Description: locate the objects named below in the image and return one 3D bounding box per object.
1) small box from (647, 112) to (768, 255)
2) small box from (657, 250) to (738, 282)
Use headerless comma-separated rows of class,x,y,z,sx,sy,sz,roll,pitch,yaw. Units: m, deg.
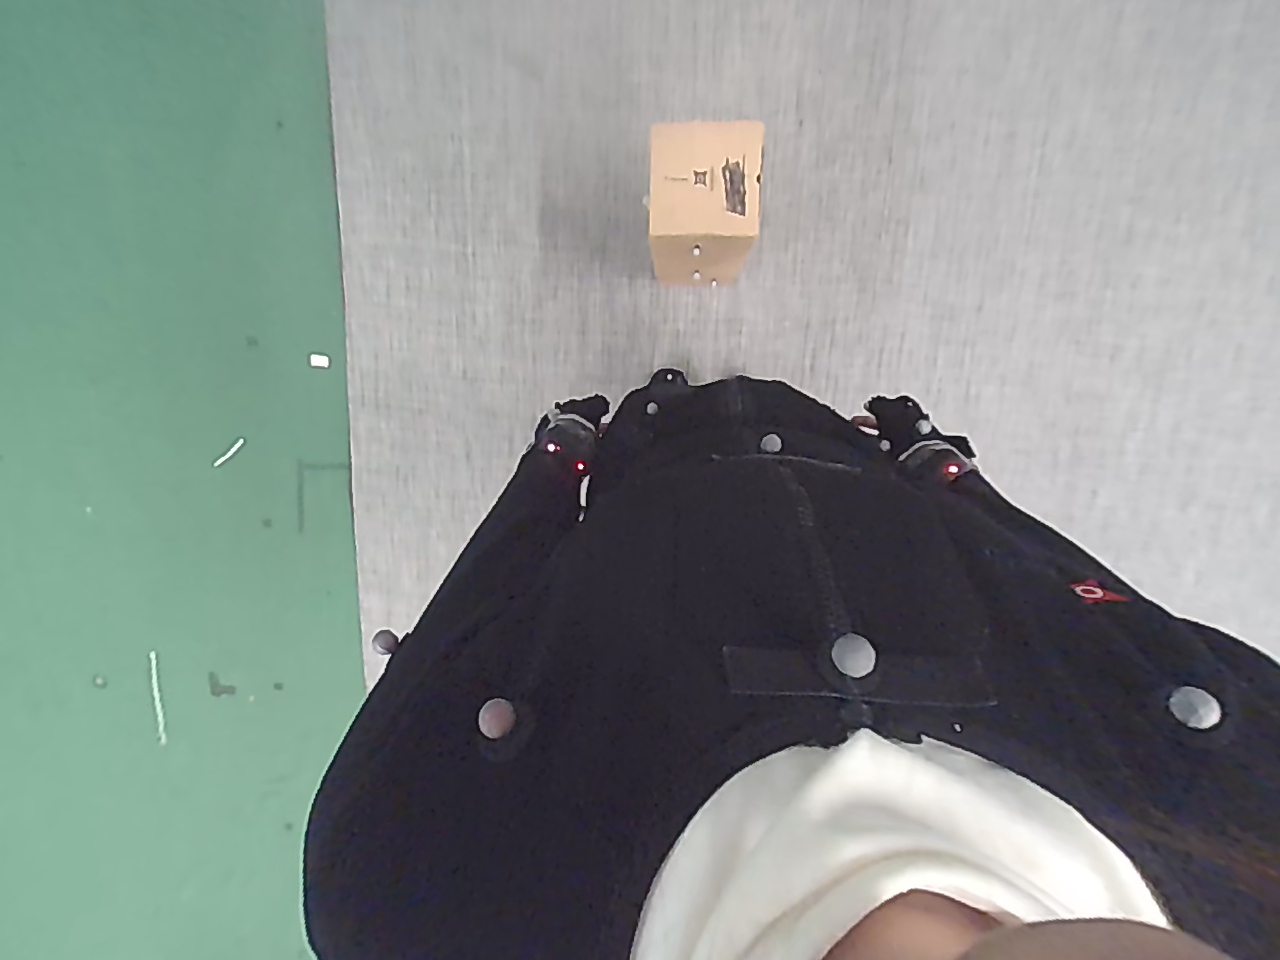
small box,0.107,-0.490,0.918,0.179,0.176,0.168,5,100,2
small box,0.132,-0.555,1.241,0.179,0.176,0.168,2,101,5
